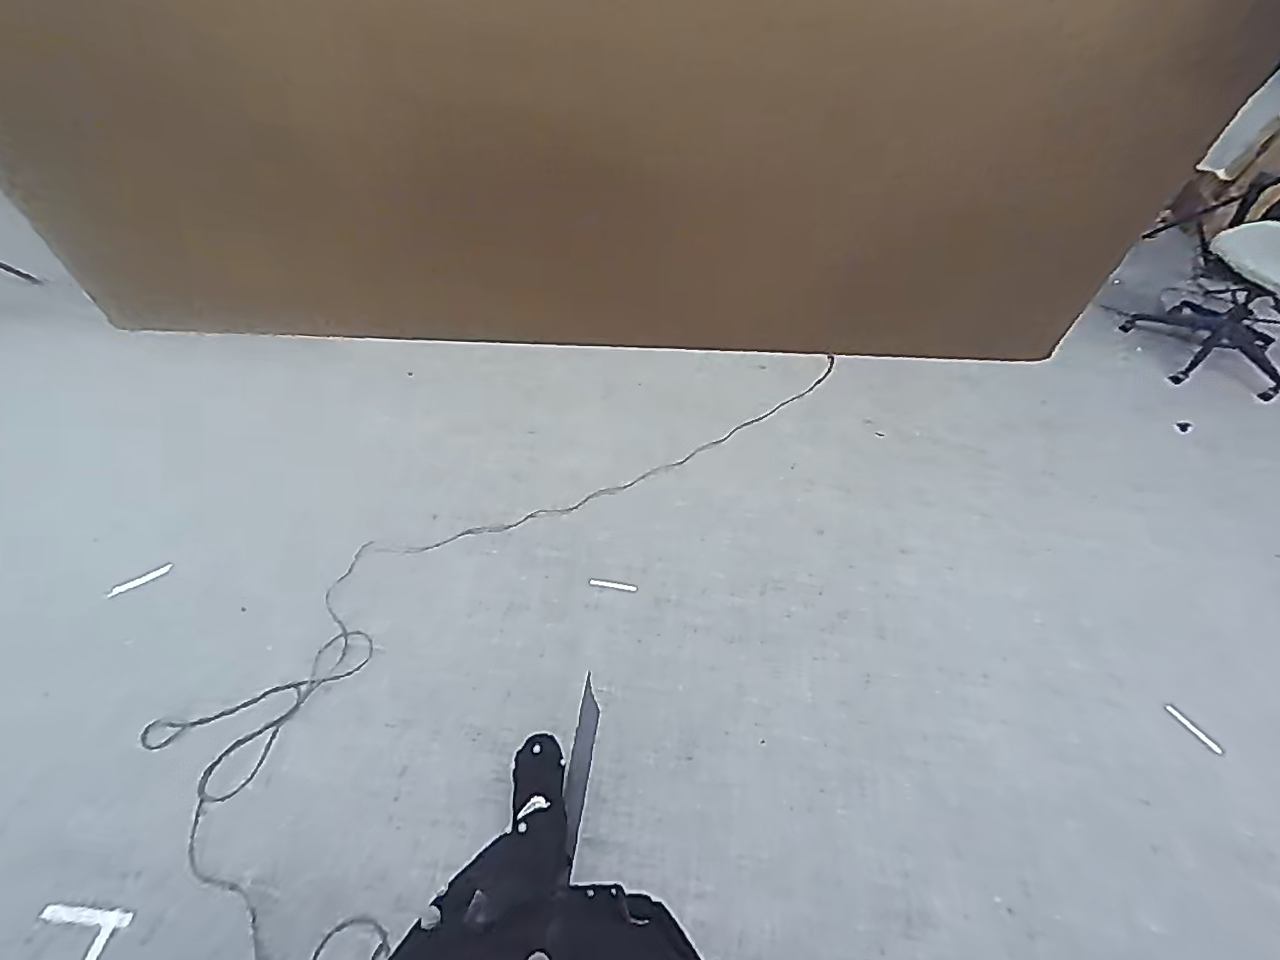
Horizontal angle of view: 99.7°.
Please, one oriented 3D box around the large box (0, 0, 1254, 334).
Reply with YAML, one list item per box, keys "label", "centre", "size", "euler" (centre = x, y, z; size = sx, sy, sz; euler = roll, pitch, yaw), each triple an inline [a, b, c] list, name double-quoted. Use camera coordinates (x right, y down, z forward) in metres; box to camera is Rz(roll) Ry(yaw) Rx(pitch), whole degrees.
- label: "large box"
  centre: [-0.011, -0.280, 0.225]
  size: [0.408, 0.320, 0.320]
  euler: [2, 51, -3]
